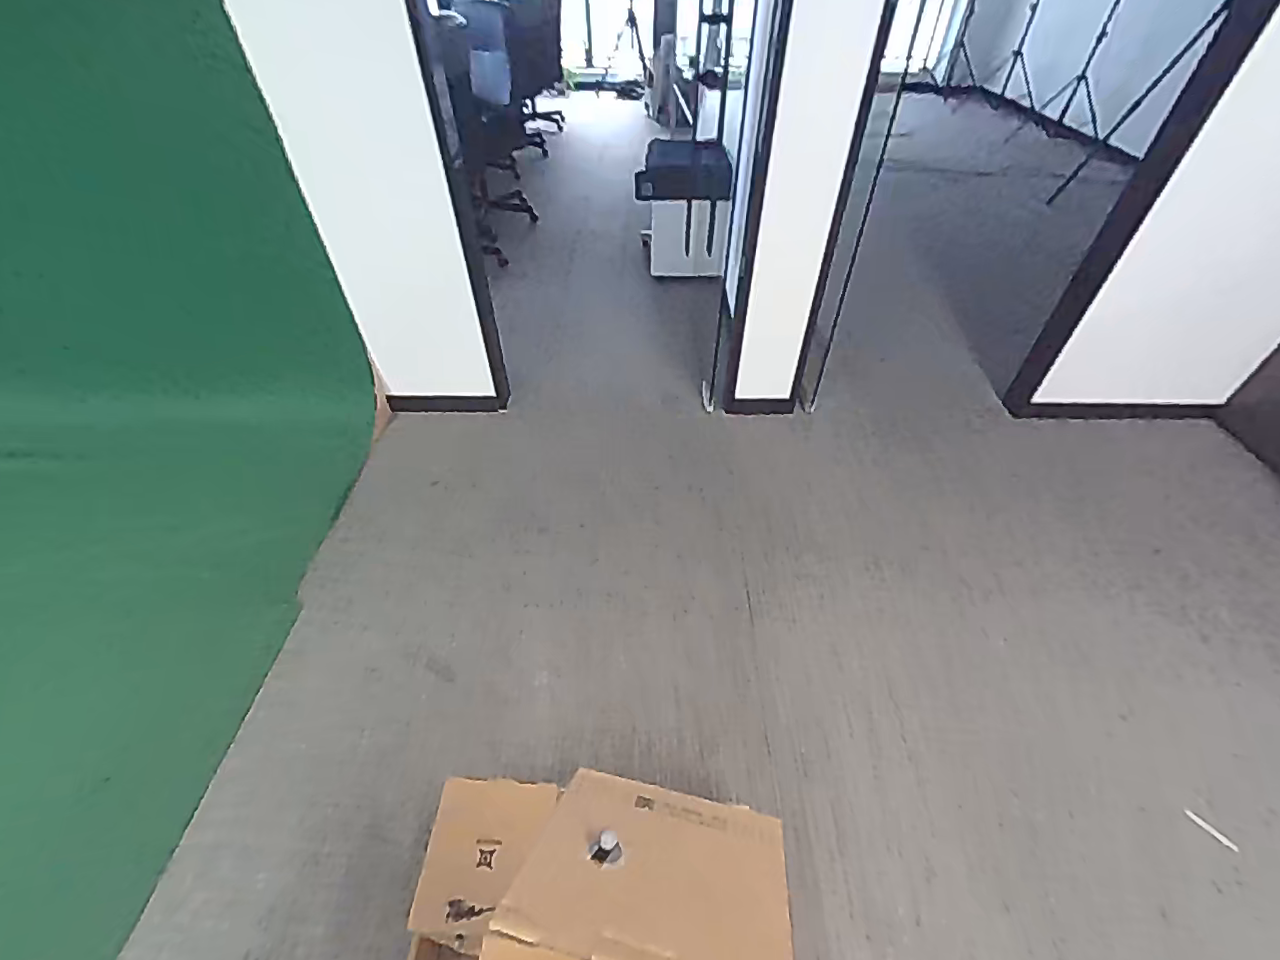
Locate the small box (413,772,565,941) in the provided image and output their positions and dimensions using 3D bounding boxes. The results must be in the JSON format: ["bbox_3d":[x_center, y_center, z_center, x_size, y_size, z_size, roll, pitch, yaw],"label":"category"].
[{"bbox_3d":[-0.201,0.553,0.789,0.168,0.176,0.179,3,45,2],"label":"small box"}]

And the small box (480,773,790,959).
[{"bbox_3d":[-0.001,0.329,0.351,0.168,0.179,0.176,9,3,12],"label":"small box"}]
